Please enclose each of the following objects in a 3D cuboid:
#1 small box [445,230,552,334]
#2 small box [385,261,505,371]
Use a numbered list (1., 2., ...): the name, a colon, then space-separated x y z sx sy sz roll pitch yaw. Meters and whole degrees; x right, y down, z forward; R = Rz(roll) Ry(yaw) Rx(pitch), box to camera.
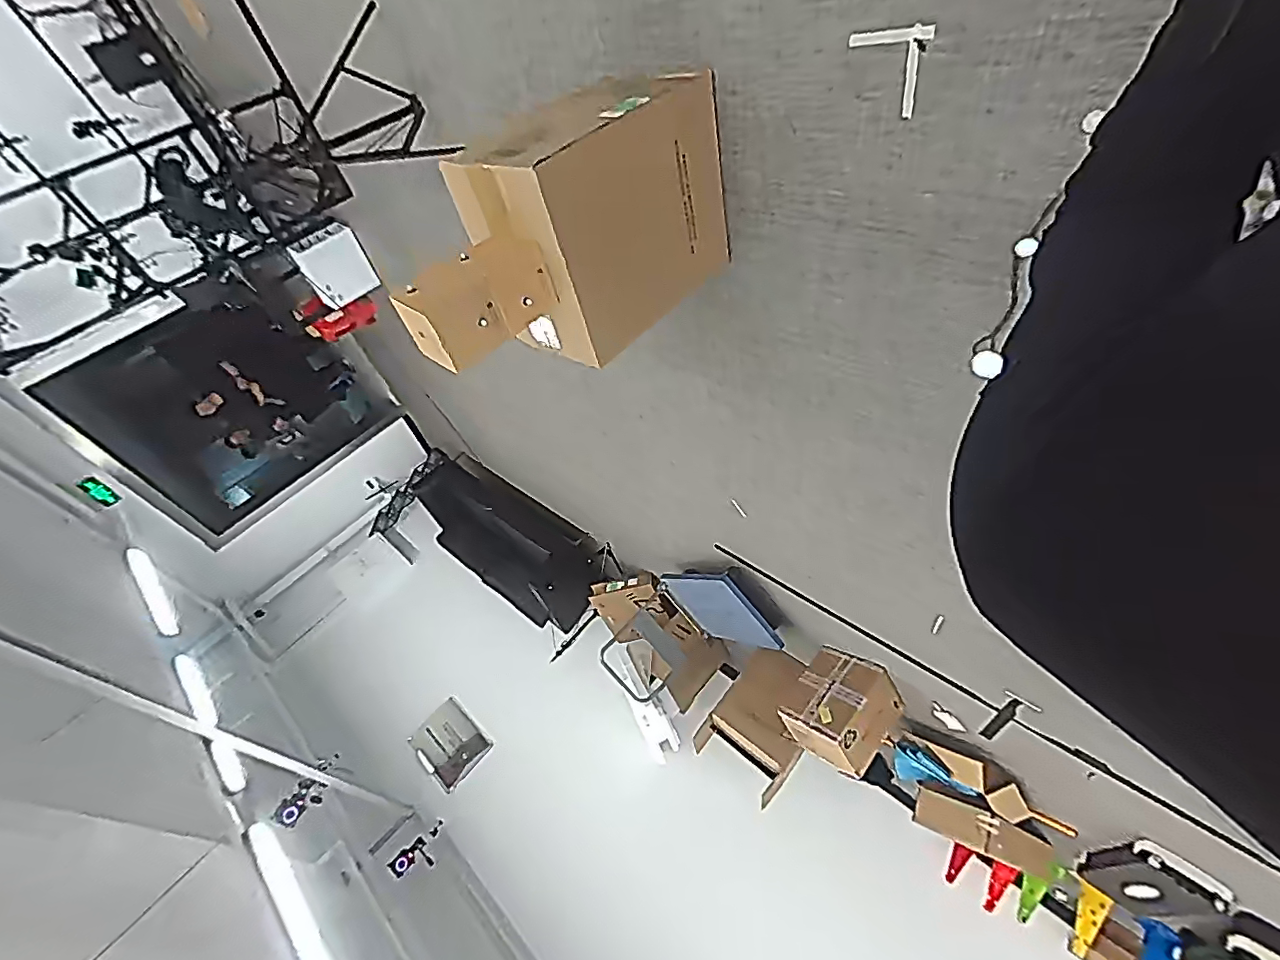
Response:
1. small box: -0.339 -0.496 1.341 0.179 0.176 0.168 30 153 34
2. small box: -0.453 -0.393 1.278 0.179 0.176 0.168 31 154 31
